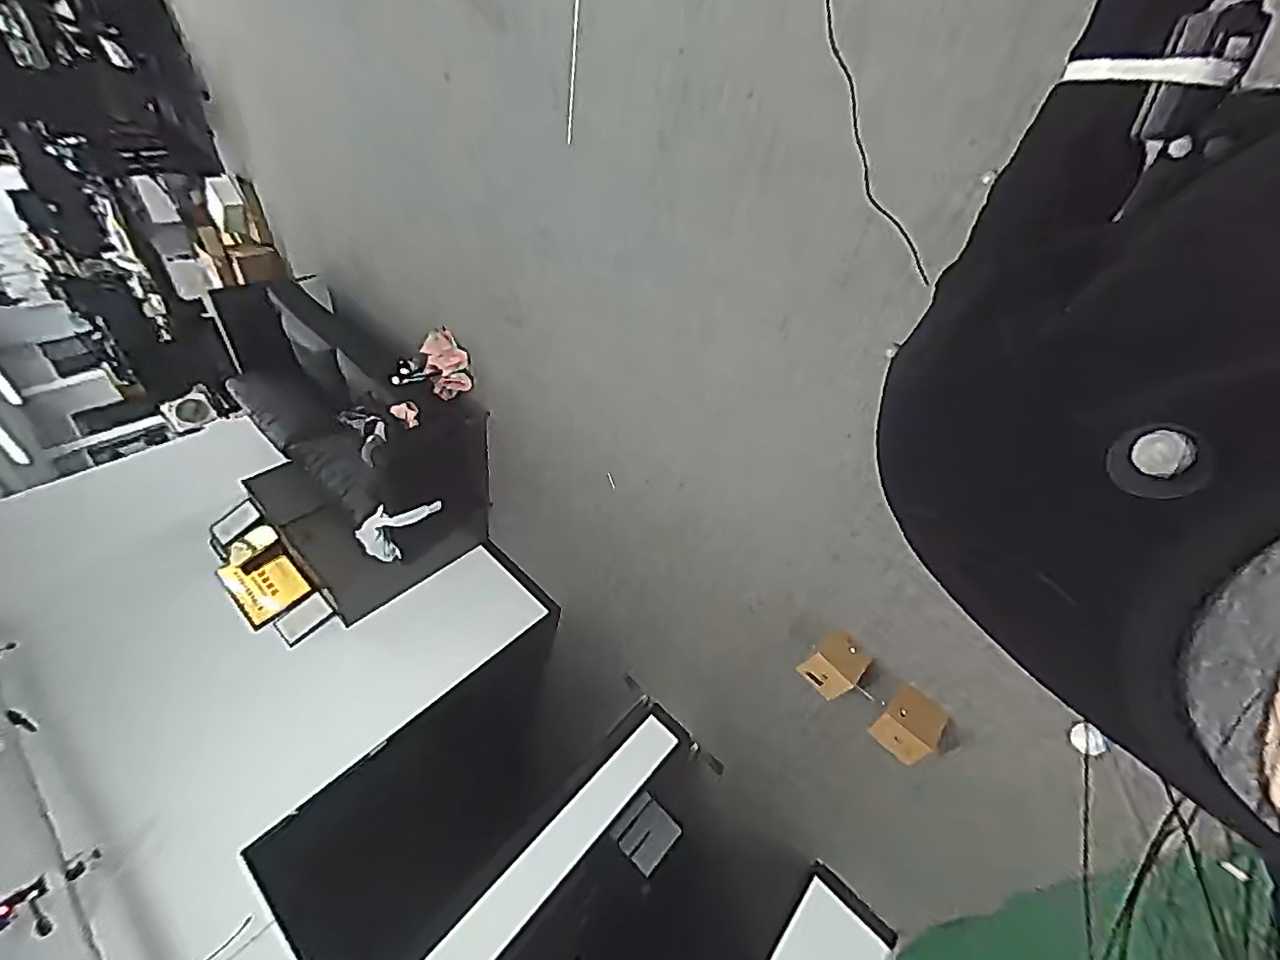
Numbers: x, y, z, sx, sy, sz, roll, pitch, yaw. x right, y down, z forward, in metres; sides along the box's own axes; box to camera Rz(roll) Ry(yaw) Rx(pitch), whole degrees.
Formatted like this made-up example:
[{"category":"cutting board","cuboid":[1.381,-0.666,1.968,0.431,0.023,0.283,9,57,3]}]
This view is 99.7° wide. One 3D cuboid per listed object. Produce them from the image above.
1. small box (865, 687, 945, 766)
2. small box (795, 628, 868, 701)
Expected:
[{"category":"small box","cuboid":[0.954,0.877,1.944,0.179,0.176,0.168,37,139,23]},{"category":"small box","cuboid":[0.733,0.700,2.060,0.168,0.176,0.179,44,140,15]}]
